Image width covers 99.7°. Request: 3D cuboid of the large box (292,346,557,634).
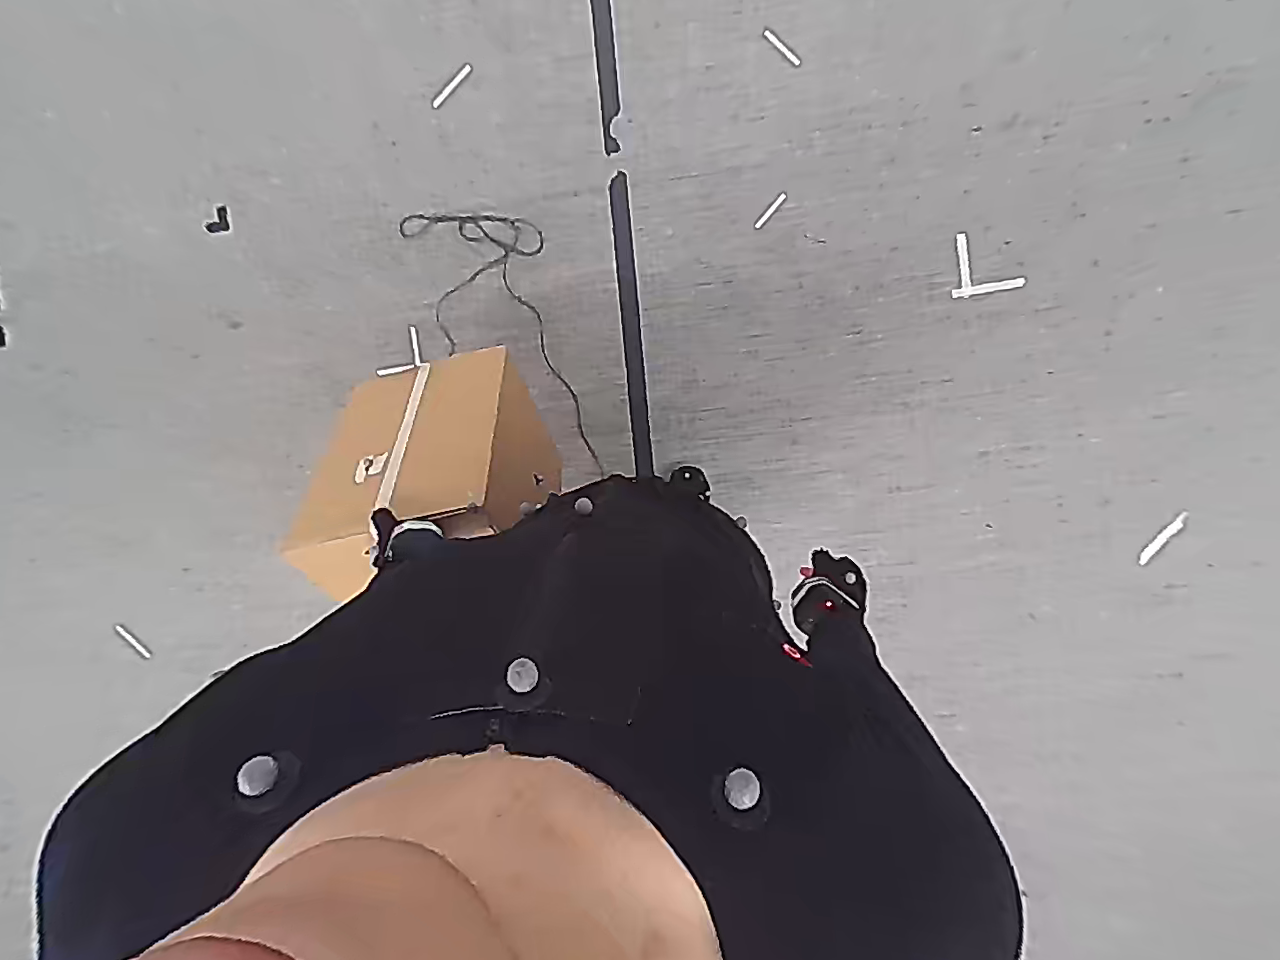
[{"bbox_3d":[-0.351,0.018,1.015,0.320,0.408,0.320,-14,137,7],"label":"large box"}]
